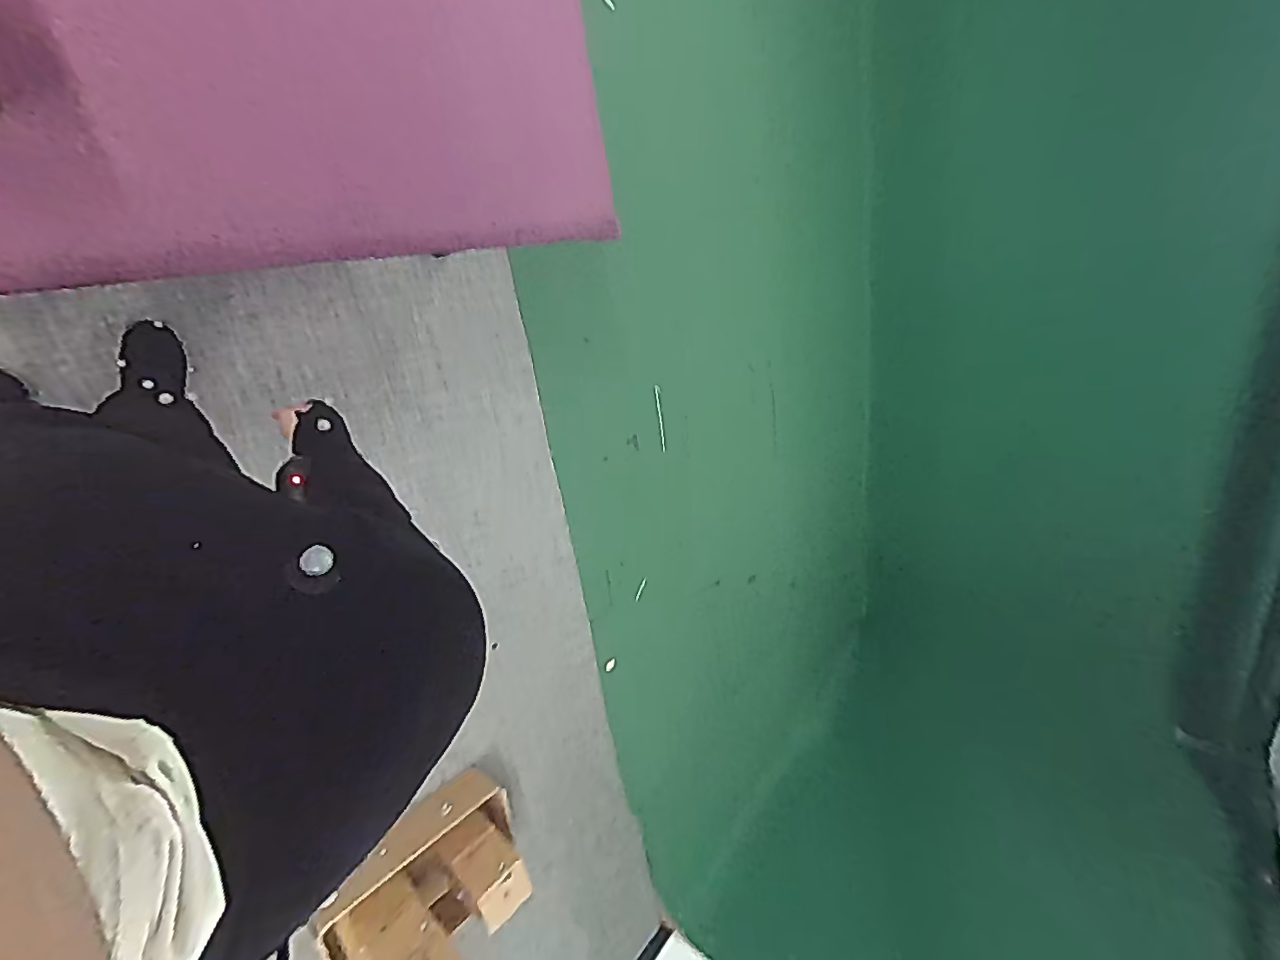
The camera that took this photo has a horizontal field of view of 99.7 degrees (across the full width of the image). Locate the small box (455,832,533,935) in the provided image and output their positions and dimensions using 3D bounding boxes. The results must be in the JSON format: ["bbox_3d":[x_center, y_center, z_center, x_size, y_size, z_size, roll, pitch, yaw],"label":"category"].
[{"bbox_3d":[-0.475,1.303,1.760,0.168,0.176,0.179,-27,118,-43],"label":"small box"}]

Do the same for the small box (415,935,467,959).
[{"bbox_3d":[-0.536,1.397,1.460,0.168,0.176,0.179,-28,118,-43],"label":"small box"}]
